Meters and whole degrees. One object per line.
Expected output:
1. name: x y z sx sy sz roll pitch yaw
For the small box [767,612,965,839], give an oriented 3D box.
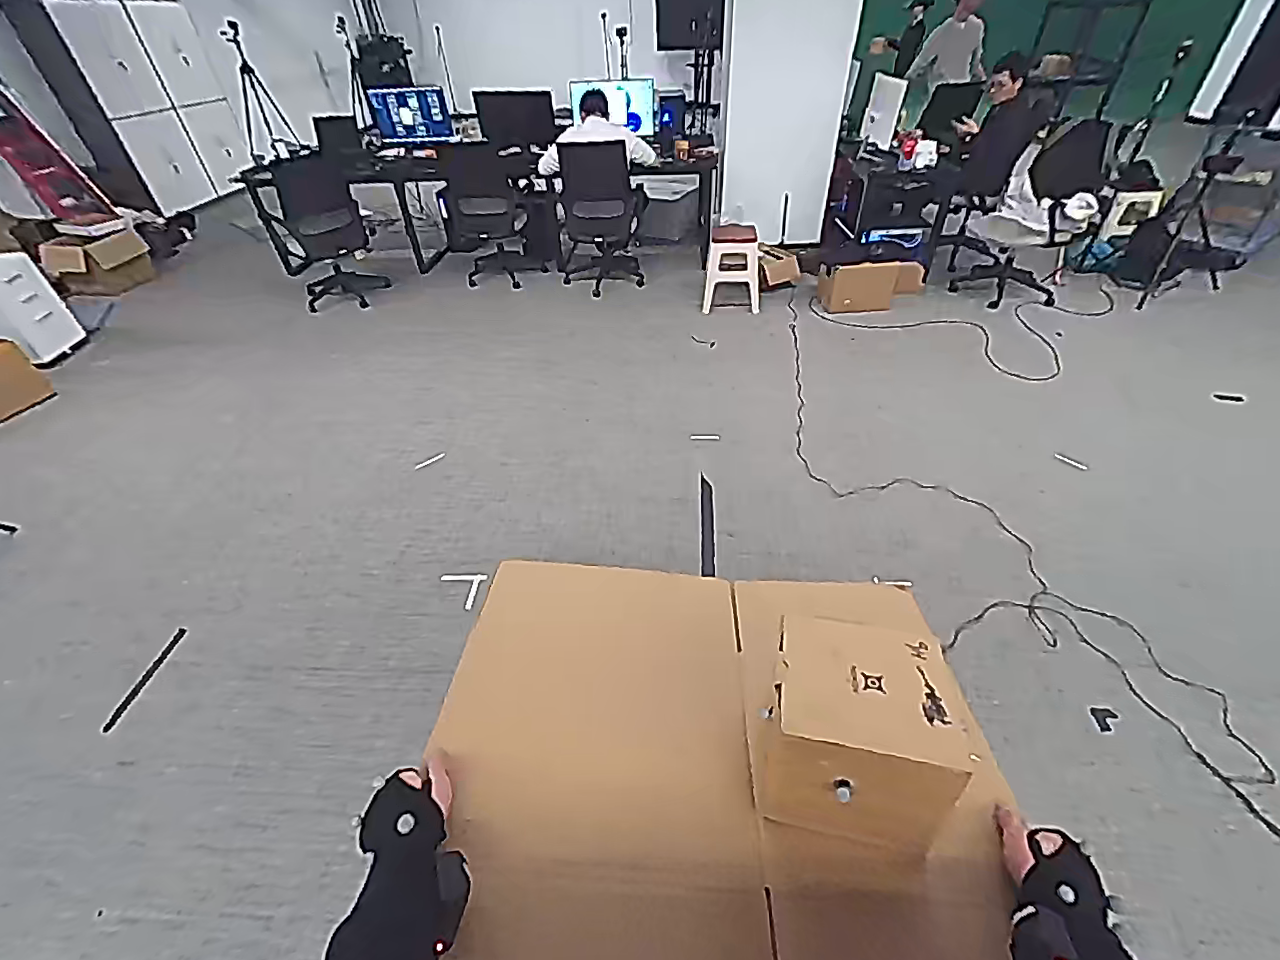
1. small box: 0.244 0.281 0.629 0.179 0.176 0.168 5 34 13
